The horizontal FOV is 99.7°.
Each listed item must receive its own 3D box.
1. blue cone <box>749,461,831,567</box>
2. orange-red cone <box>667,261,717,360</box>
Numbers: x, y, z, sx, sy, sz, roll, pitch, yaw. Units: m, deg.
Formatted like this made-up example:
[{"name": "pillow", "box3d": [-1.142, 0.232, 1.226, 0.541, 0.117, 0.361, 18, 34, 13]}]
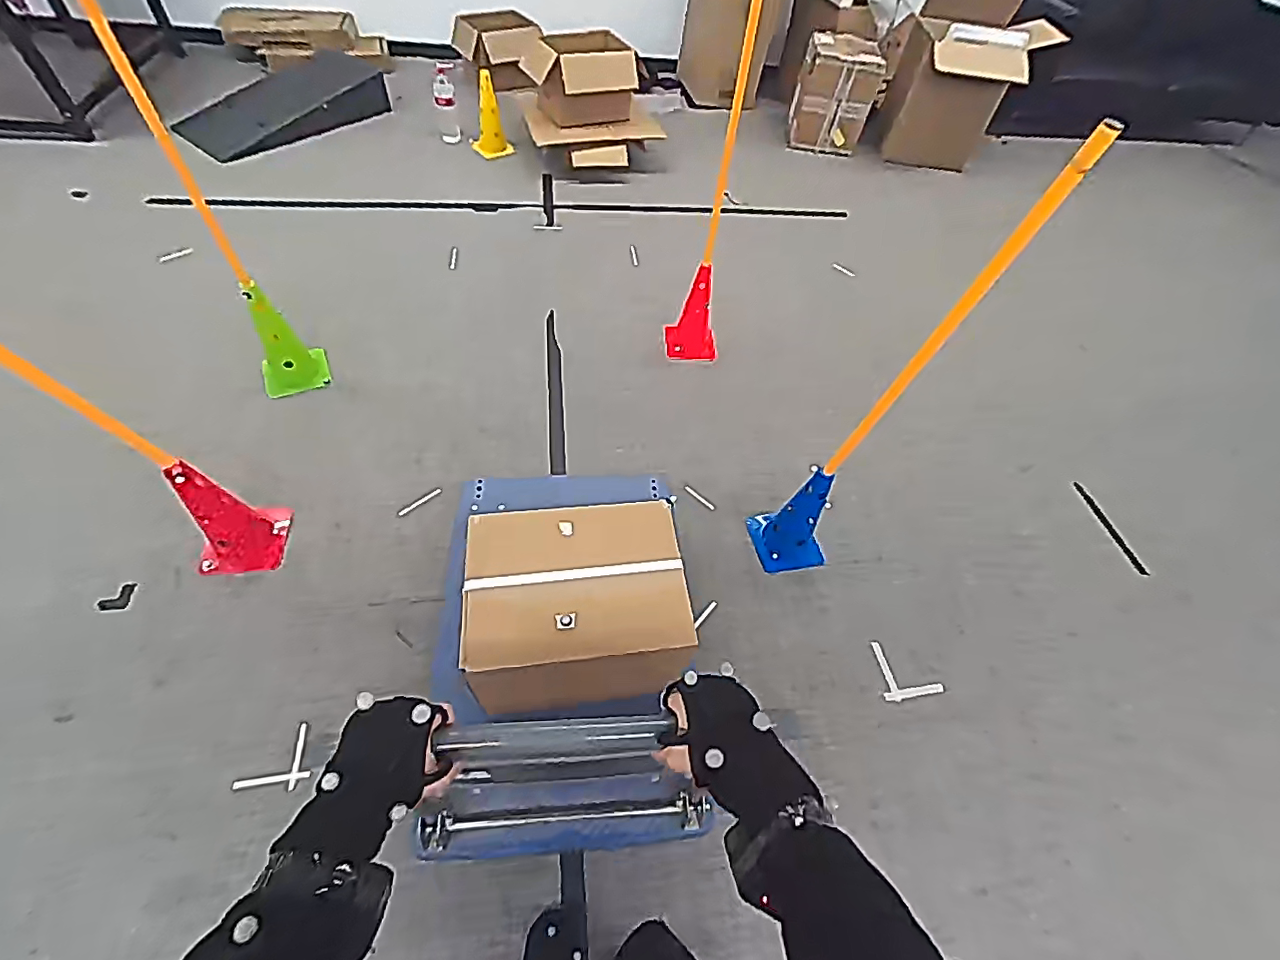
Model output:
[{"name": "blue cone", "box3d": [0.464, 0.083, 1.541, 0.193, 0.380, 0.192, -6, 54, -11]}, {"name": "orange-red cone", "box3d": [0.224, -0.651, 2.024, 0.199, 0.360, 0.198, 3, 55, -6]}]
